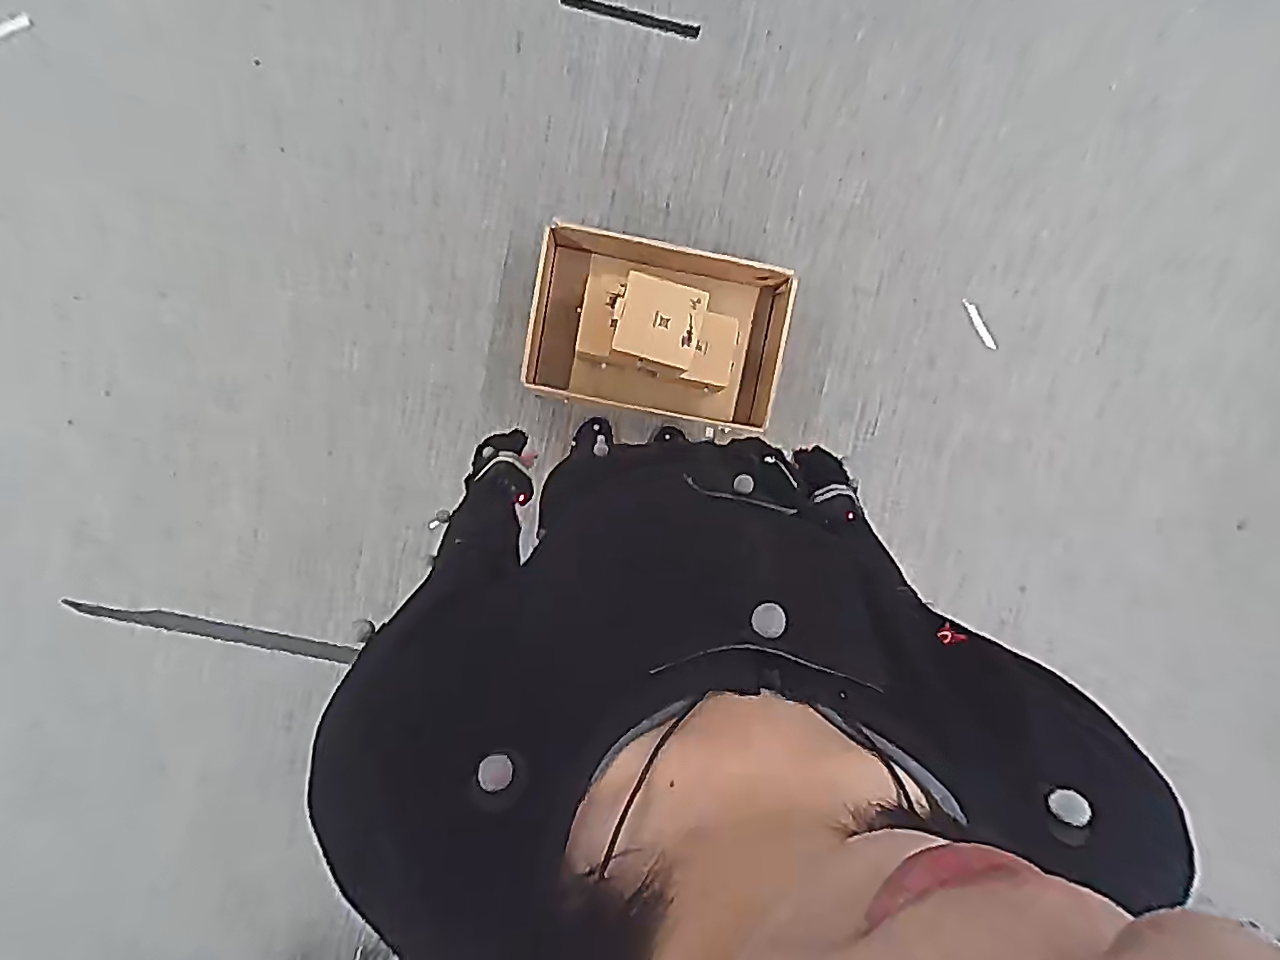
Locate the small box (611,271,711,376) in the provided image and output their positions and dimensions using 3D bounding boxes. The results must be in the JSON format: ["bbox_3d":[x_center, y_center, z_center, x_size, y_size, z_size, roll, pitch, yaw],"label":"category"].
[{"bbox_3d":[0.039,-0.335,1.193,0.179,0.176,0.168,15,94,-5],"label":"small box"}]

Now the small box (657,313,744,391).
[{"bbox_3d":[0.146,-0.322,1.365,0.179,0.176,0.168,11,94,-2],"label":"small box"}]
